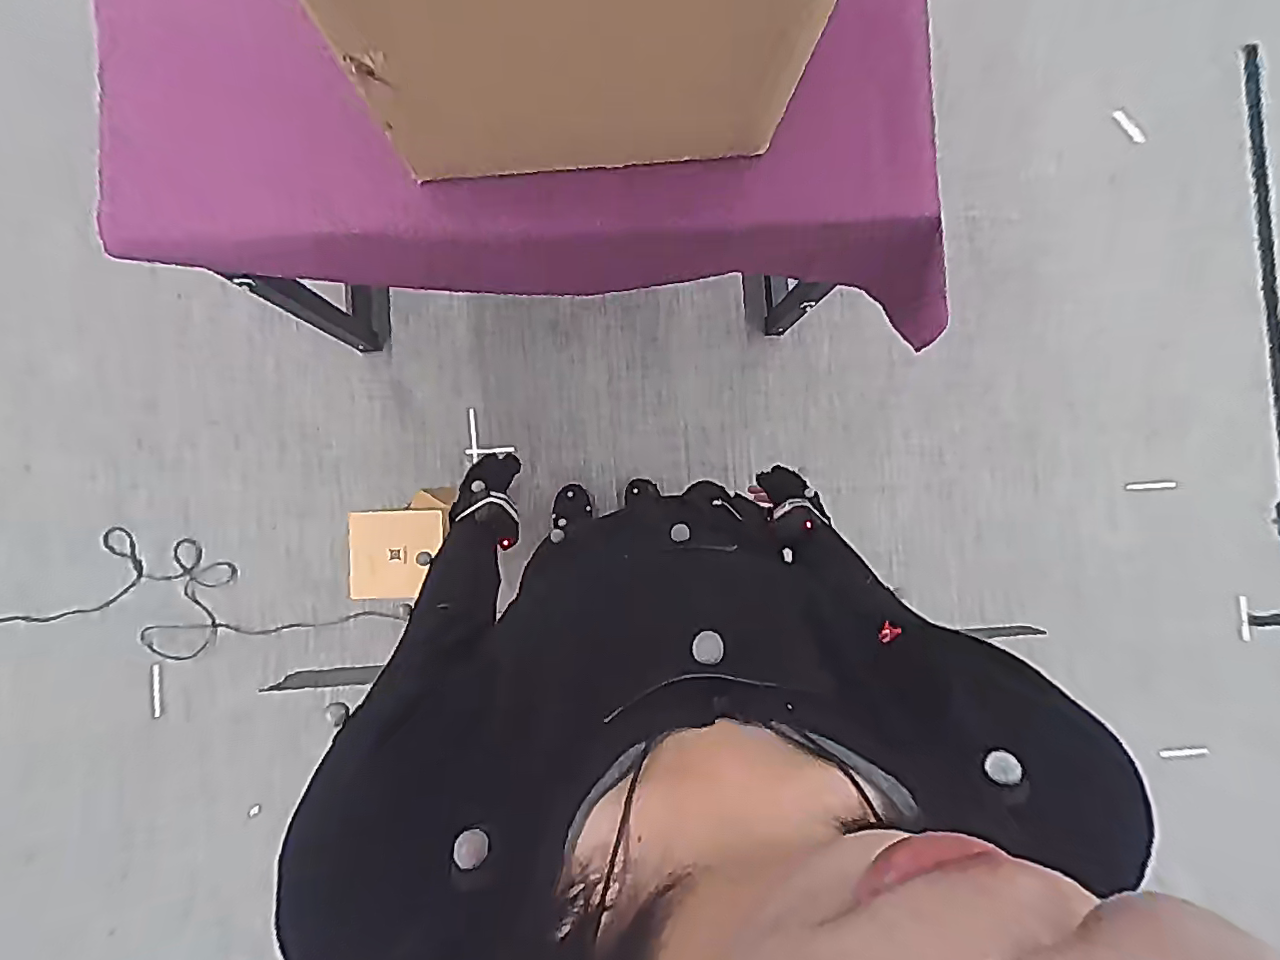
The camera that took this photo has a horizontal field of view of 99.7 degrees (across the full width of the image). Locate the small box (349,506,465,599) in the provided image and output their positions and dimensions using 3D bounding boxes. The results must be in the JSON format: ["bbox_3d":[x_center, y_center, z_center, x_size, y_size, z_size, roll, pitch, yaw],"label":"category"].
[{"bbox_3d":[-0.455,0.138,1.083,0.179,0.176,0.168,-2,88,-3],"label":"small box"}]

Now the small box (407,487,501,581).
[{"bbox_3d":[-0.447,0.129,1.247,0.179,0.176,0.168,29,88,-2],"label":"small box"}]

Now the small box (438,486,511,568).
[{"bbox_3d":[-0.460,0.127,1.410,0.179,0.176,0.168,27,88,-3],"label":"small box"}]
